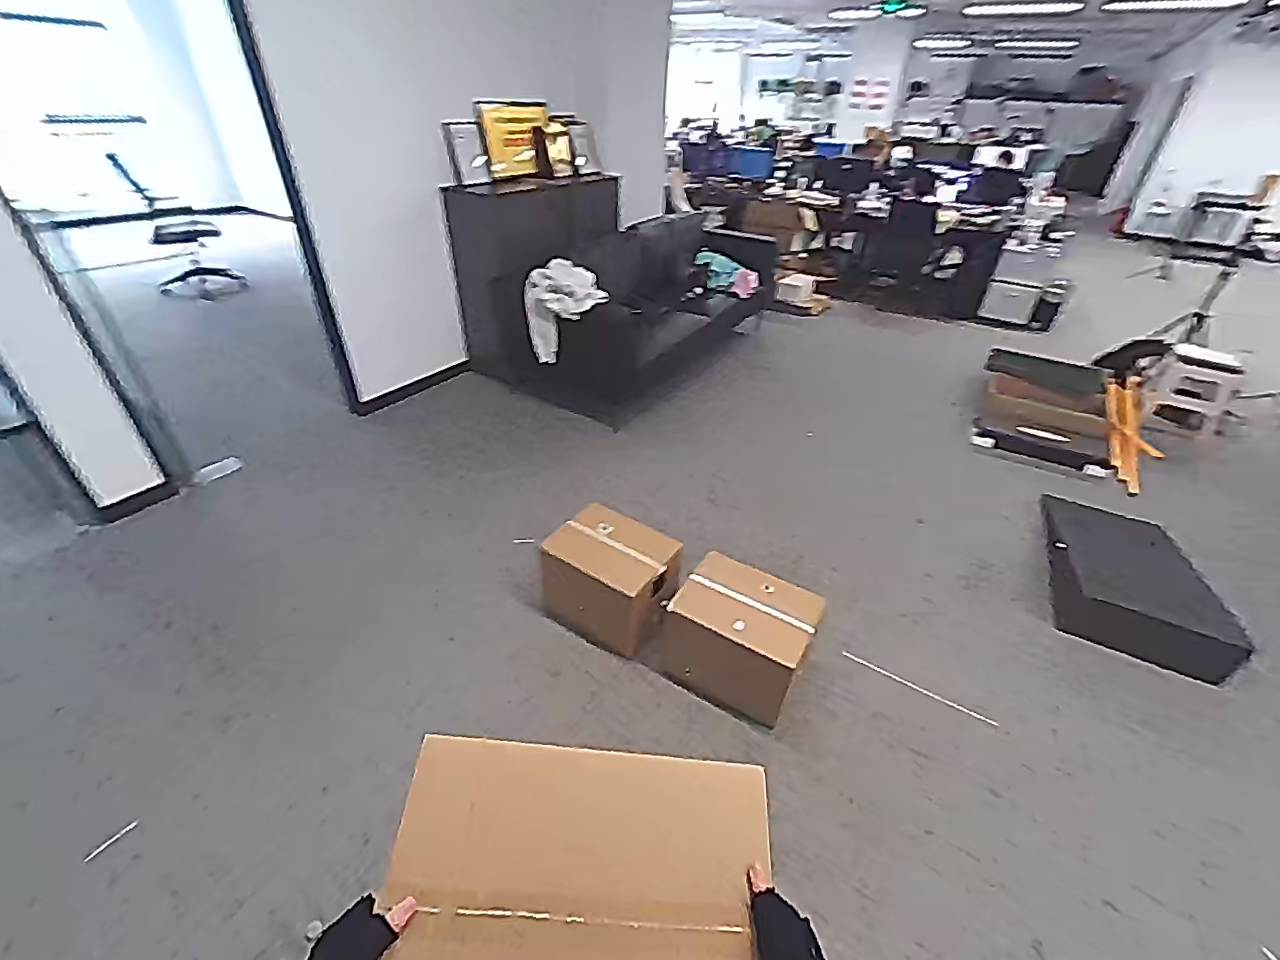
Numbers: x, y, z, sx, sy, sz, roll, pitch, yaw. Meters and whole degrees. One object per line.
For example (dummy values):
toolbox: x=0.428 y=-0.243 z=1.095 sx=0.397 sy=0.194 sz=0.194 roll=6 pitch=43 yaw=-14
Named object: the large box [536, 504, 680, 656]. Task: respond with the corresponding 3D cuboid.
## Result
large box: x=-0.106 y=0.348 z=1.929 sx=0.408 sy=0.320 sz=0.320 roll=22 pitch=39 yaw=27
